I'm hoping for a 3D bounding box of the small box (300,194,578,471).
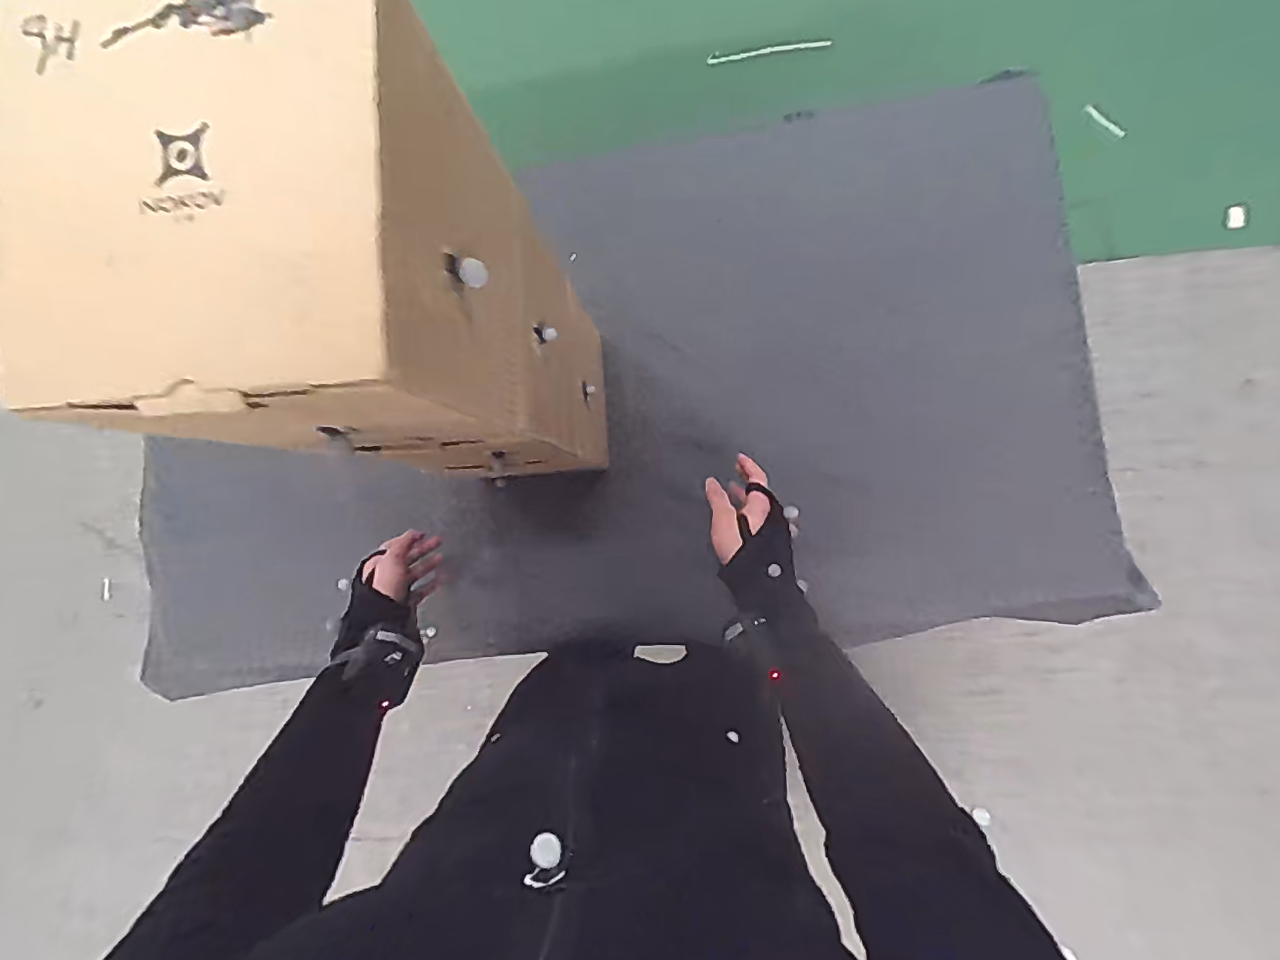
[{"bbox_3d":[-0.150,-0.099,0.450,0.168,0.176,0.179,-4,86,6],"label":"small box"}]

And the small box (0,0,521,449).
[{"bbox_3d":[-0.168,-0.109,0.287,0.168,0.176,0.179,-4,88,5],"label":"small box"}]

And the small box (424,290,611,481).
[{"bbox_3d":[-0.131,-0.091,0.610,0.168,0.176,0.179,-5,87,7],"label":"small box"}]
